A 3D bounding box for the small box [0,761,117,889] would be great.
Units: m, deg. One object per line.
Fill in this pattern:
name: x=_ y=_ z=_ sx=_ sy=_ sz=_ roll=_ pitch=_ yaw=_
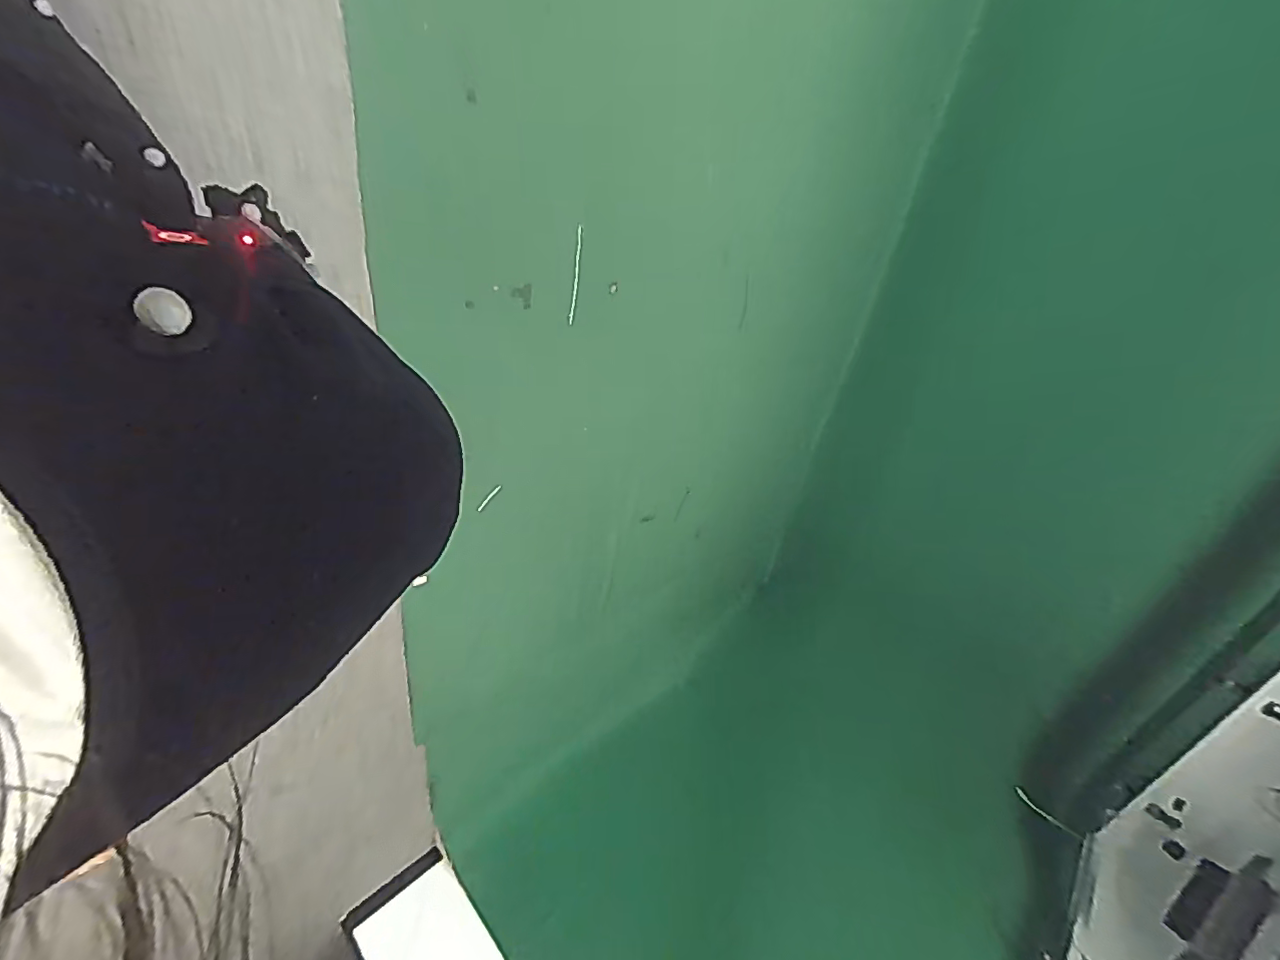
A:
small box: x=-1.456 y=0.849 z=1.348 sx=0.179 sy=0.176 sz=0.168 roll=-18 pitch=131 yaw=-42
